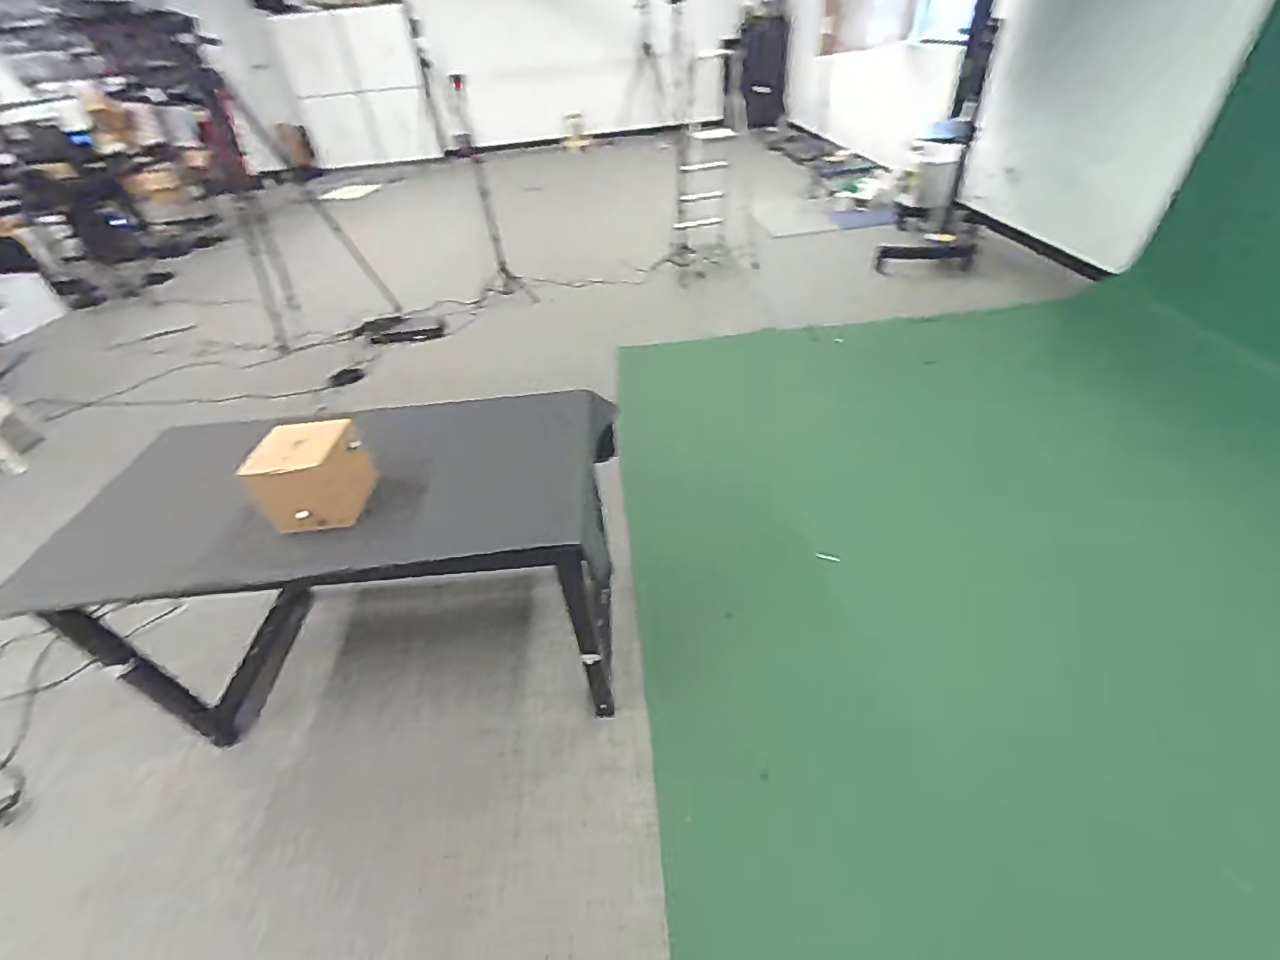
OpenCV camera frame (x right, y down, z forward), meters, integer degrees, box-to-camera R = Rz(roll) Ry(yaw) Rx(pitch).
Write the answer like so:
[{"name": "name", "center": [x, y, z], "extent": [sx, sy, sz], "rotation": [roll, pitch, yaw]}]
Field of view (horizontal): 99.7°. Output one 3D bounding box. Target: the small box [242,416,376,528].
[{"name": "small box", "center": [-0.701, -0.018, 1.175], "extent": [0.168, 0.176, 0.179], "rotation": [-5, 40, 1]}]
